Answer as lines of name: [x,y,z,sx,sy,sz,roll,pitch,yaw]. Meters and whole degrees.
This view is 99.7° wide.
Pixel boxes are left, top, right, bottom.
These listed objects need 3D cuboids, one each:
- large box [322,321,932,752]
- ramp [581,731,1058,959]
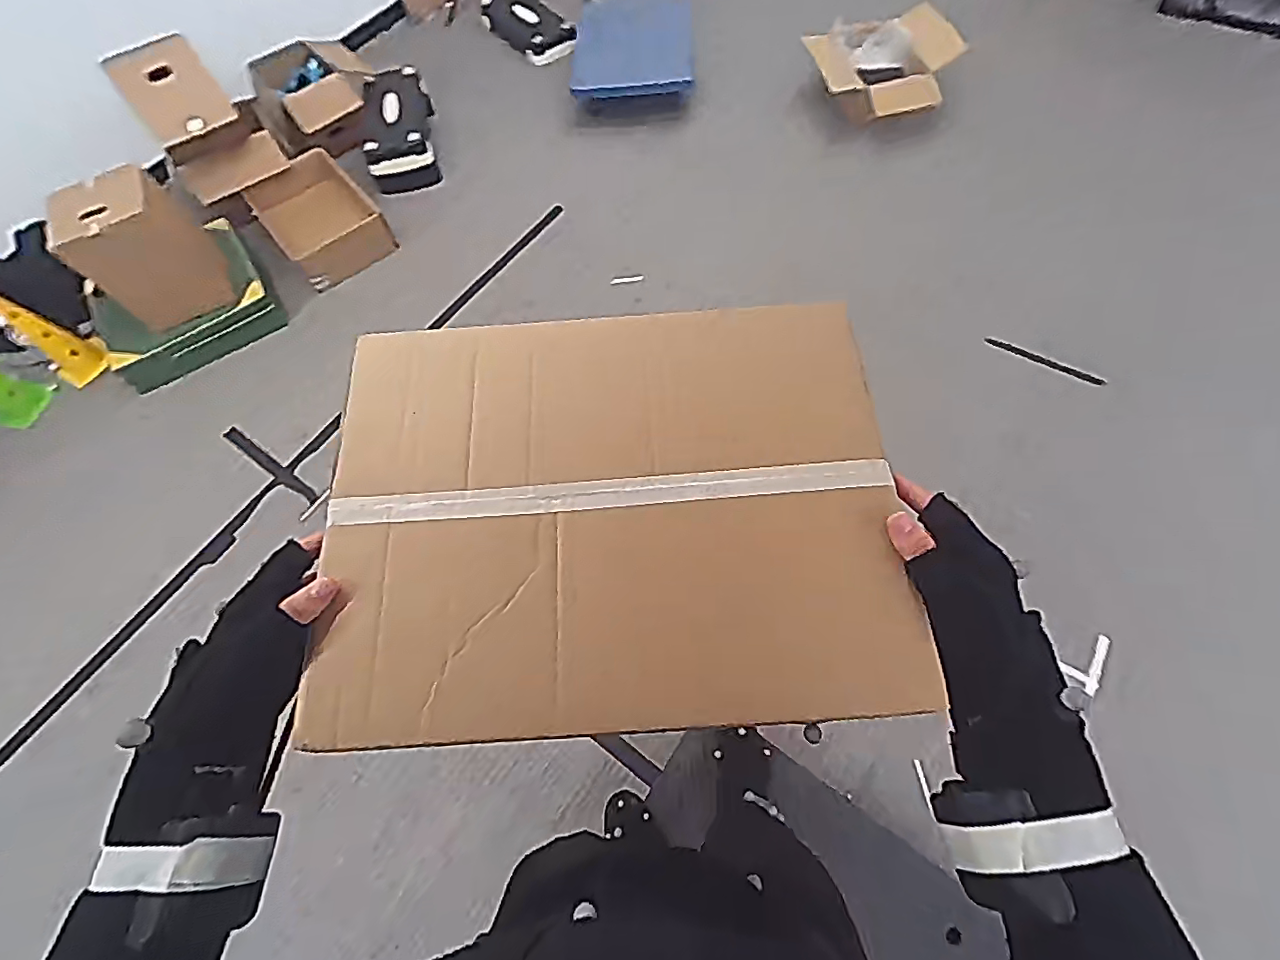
large box: [-0.011,0.073,0.539,0.408,0.320,0.320,-3,67,0]
ramp: [0.409,0.983,1.190,0.991,0.206,0.509,30,69,16]
